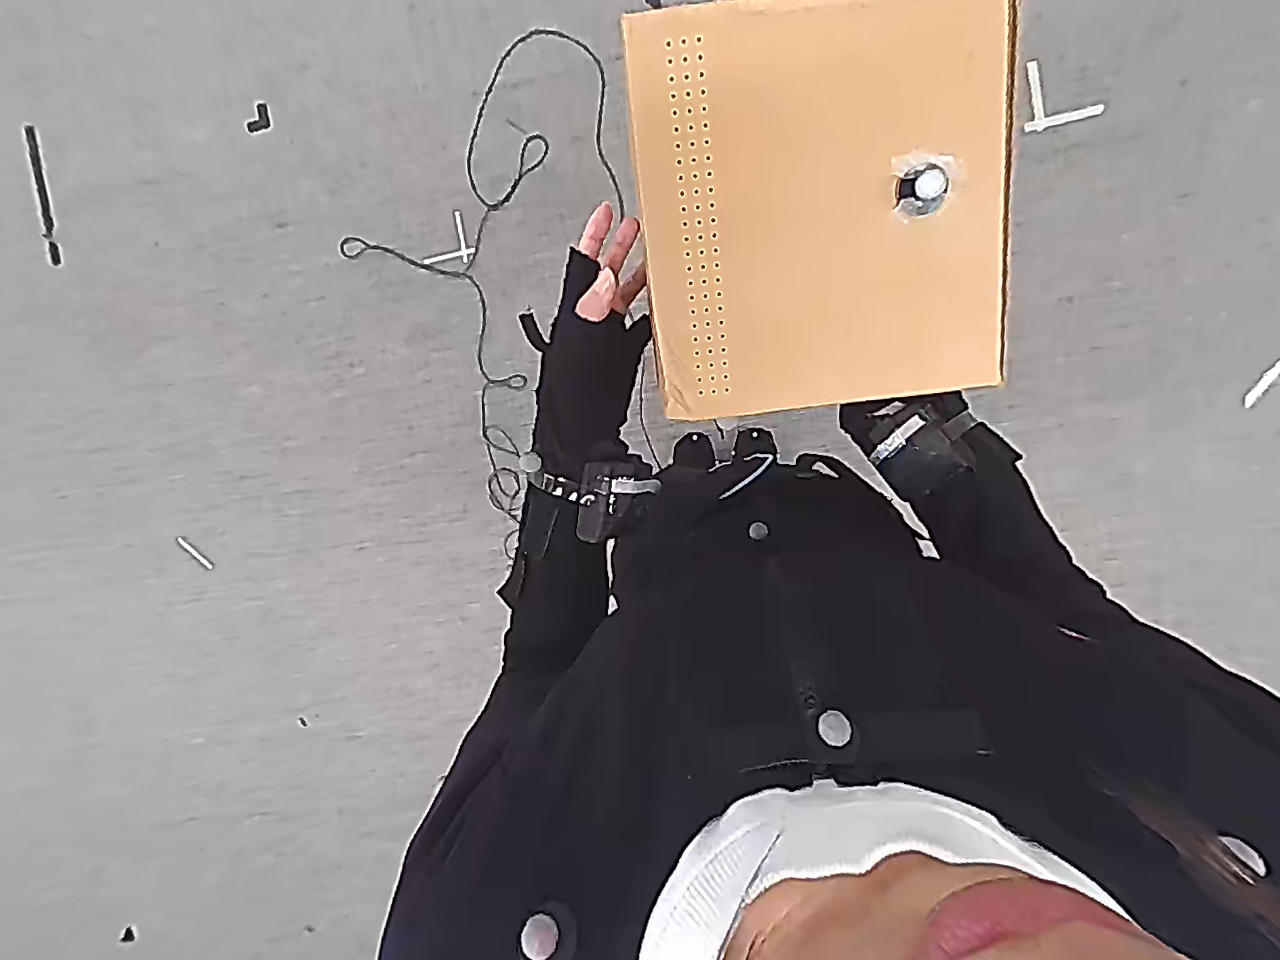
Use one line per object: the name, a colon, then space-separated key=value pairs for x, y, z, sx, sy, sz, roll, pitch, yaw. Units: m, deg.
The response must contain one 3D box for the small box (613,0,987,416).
small box: x=0.079 y=-0.144 z=0.333 sx=0.176 sy=0.168 sz=0.179 roll=-7 pitch=104 yaw=3
